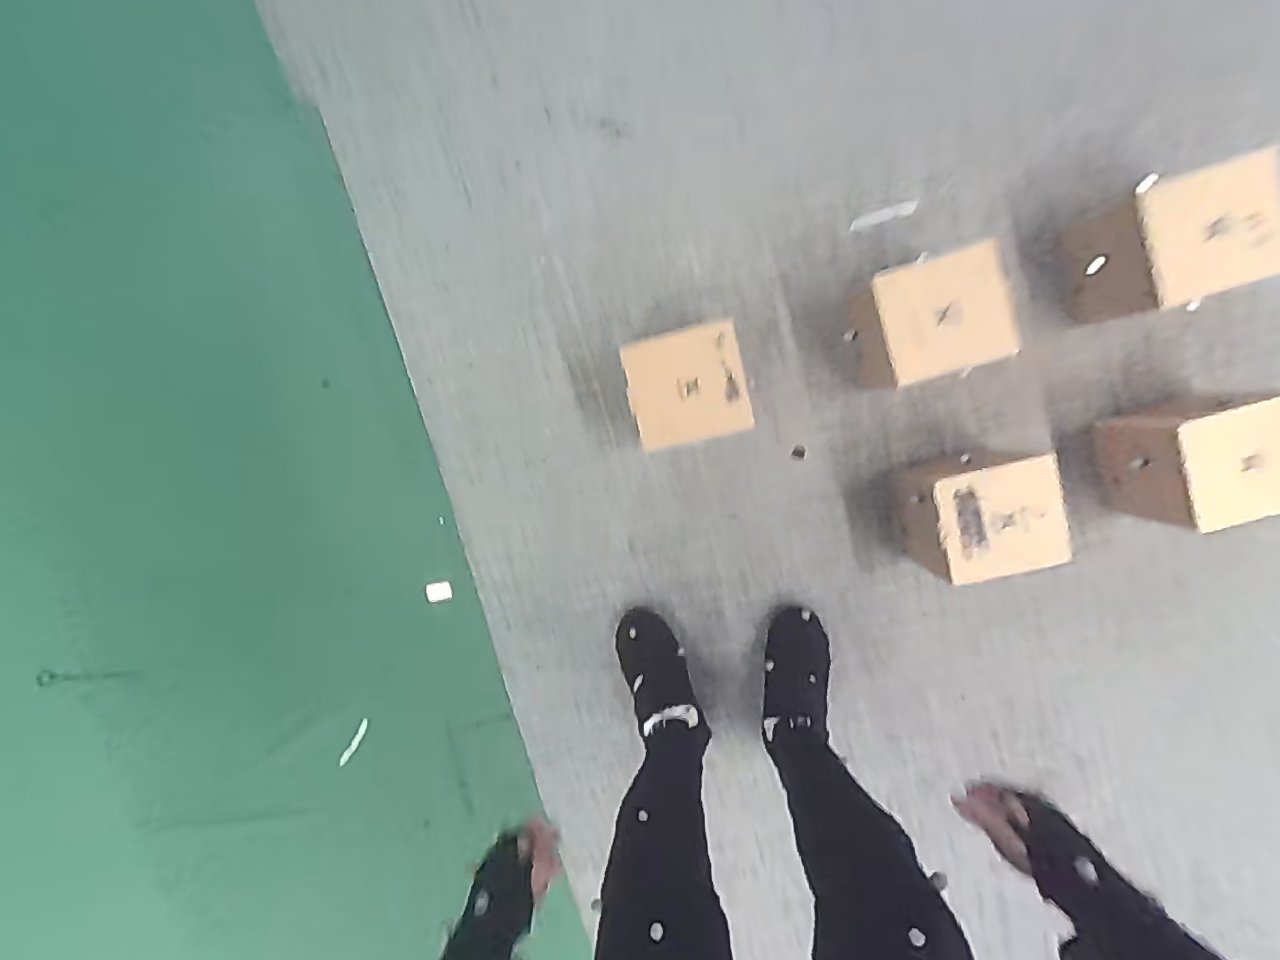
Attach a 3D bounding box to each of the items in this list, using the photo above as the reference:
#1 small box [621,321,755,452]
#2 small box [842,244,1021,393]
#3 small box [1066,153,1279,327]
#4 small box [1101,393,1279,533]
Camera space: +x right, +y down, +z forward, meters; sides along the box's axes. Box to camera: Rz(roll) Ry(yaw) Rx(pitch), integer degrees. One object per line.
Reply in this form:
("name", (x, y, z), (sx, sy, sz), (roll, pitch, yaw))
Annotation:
("small box", (0.080, -0.145, 0.886), (0.179, 0.176, 0.168), (-13, 95, 6))
("small box", (0.443, -0.240, 0.848), (0.179, 0.176, 0.168), (-15, 94, 6))
("small box", (0.784, -0.342, 0.810), (0.179, 0.176, 0.168), (-16, 95, 6))
("small box", (0.869, -0.029, 0.841), (0.179, 0.176, 0.168), (-17, 94, 5))
